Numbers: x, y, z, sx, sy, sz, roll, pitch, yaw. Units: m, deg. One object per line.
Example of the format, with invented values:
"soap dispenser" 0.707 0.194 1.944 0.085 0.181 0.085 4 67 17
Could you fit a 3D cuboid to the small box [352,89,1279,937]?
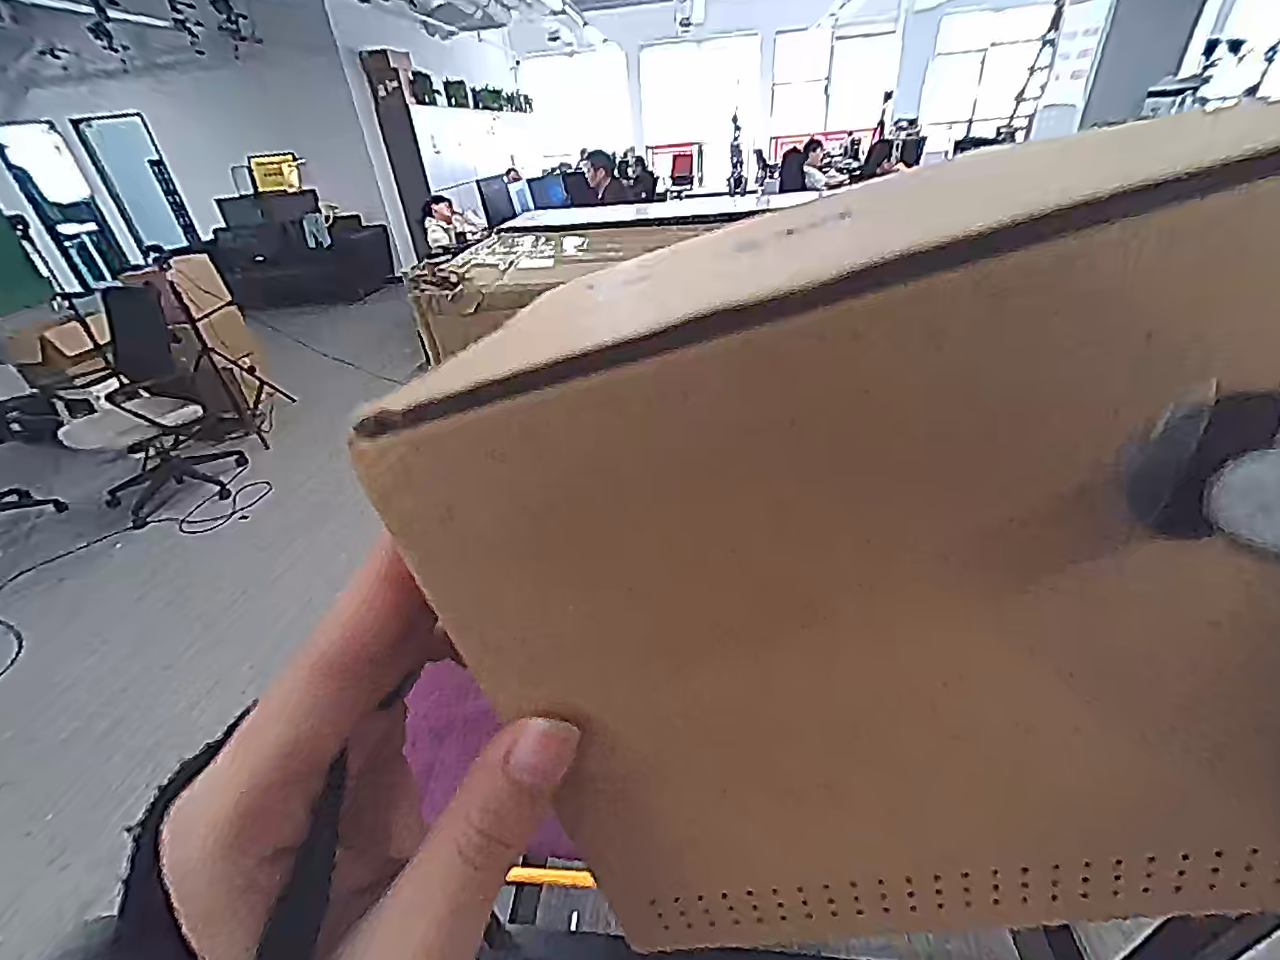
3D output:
"small box" 0.064 0.007 0.175 0.179 0.176 0.168 -14 24 12
